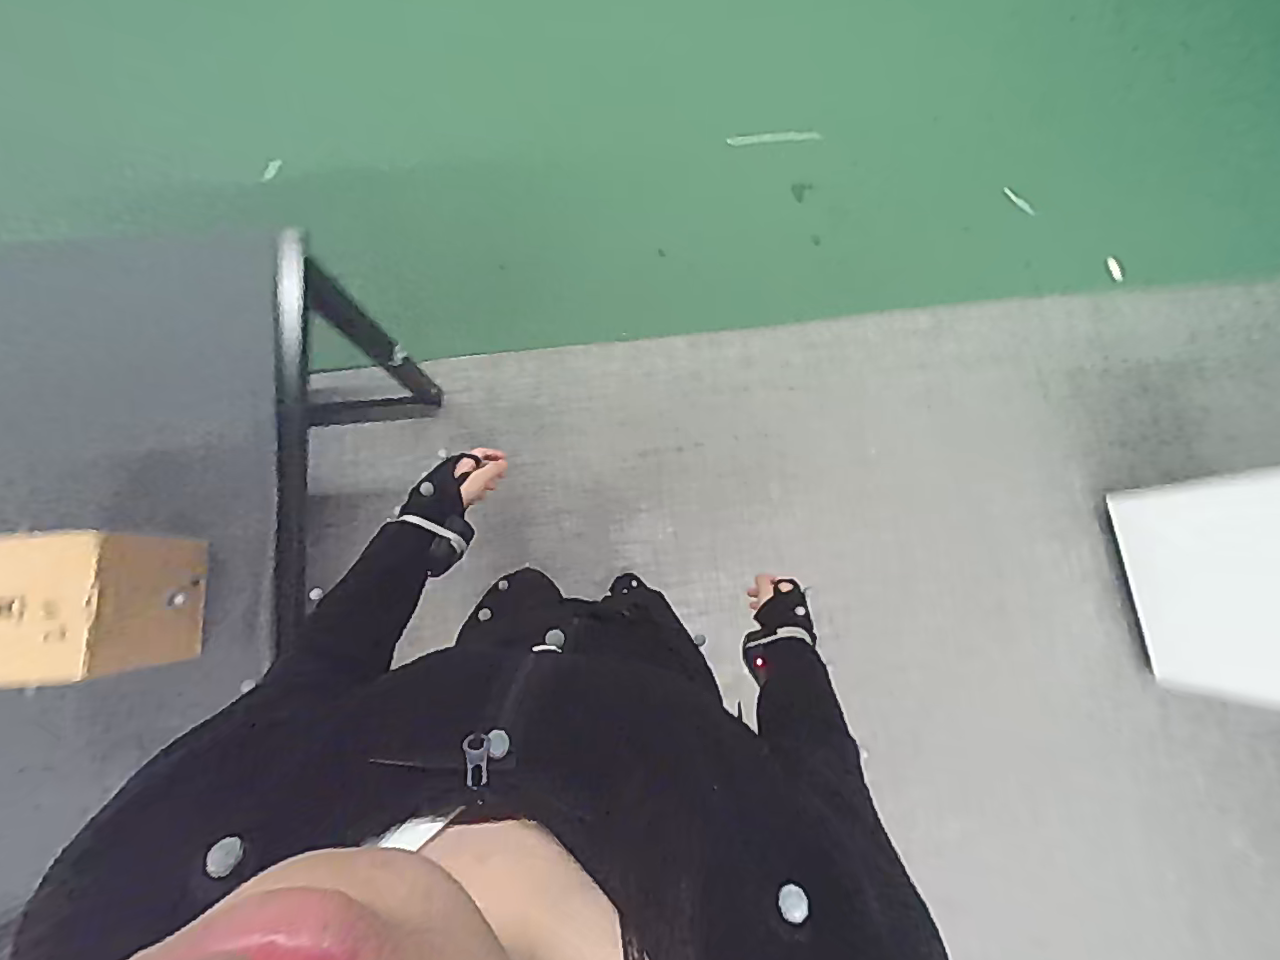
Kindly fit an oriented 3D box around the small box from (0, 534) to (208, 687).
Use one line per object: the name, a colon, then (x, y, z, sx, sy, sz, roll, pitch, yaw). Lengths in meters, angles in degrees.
small box: (-0.700, 0.161, 0.681, 0.179, 0.176, 0.168, -4, 81, -2)
